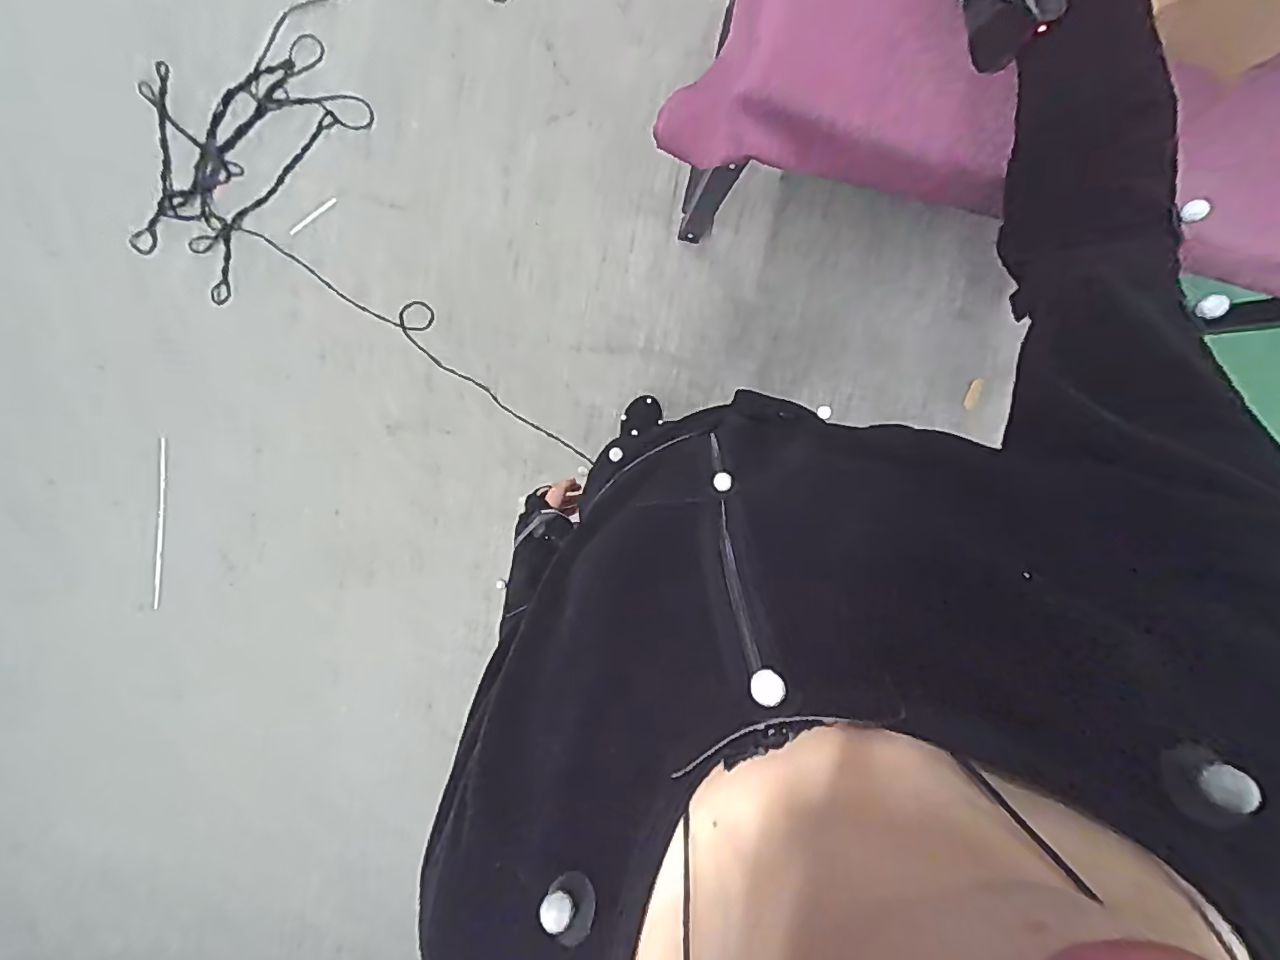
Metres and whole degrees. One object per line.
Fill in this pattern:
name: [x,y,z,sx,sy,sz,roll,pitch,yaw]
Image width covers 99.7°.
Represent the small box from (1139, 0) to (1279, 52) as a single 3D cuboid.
small box: [0.744,-0.637,0.612,0.179,0.176,0.168,13,98,-5]
